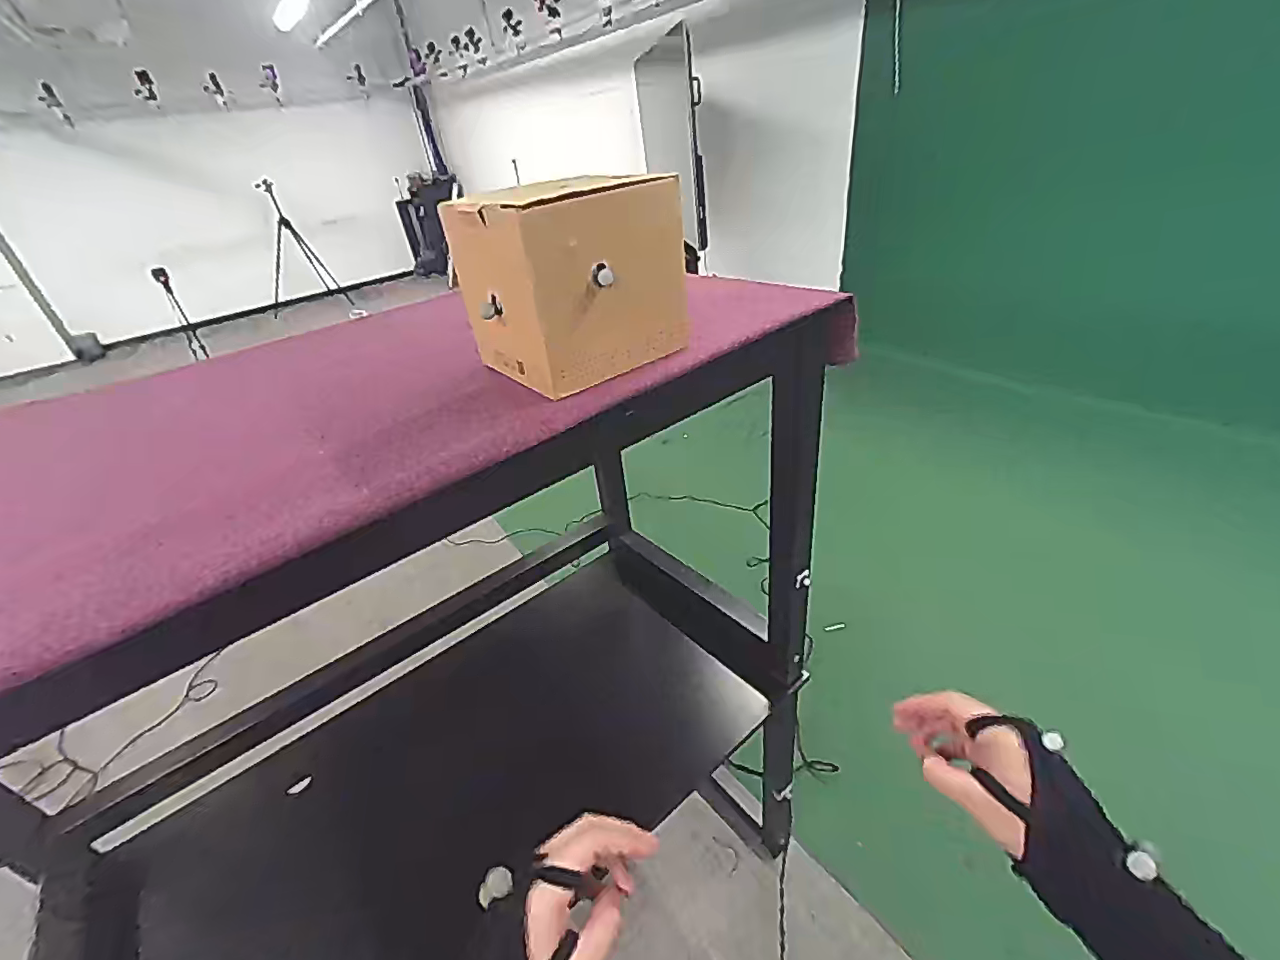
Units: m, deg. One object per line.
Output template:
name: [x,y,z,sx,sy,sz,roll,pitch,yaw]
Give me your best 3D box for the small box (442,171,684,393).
small box: [-0.069,-0.207,0.558,0.179,0.176,0.168,-29,39,-28]
